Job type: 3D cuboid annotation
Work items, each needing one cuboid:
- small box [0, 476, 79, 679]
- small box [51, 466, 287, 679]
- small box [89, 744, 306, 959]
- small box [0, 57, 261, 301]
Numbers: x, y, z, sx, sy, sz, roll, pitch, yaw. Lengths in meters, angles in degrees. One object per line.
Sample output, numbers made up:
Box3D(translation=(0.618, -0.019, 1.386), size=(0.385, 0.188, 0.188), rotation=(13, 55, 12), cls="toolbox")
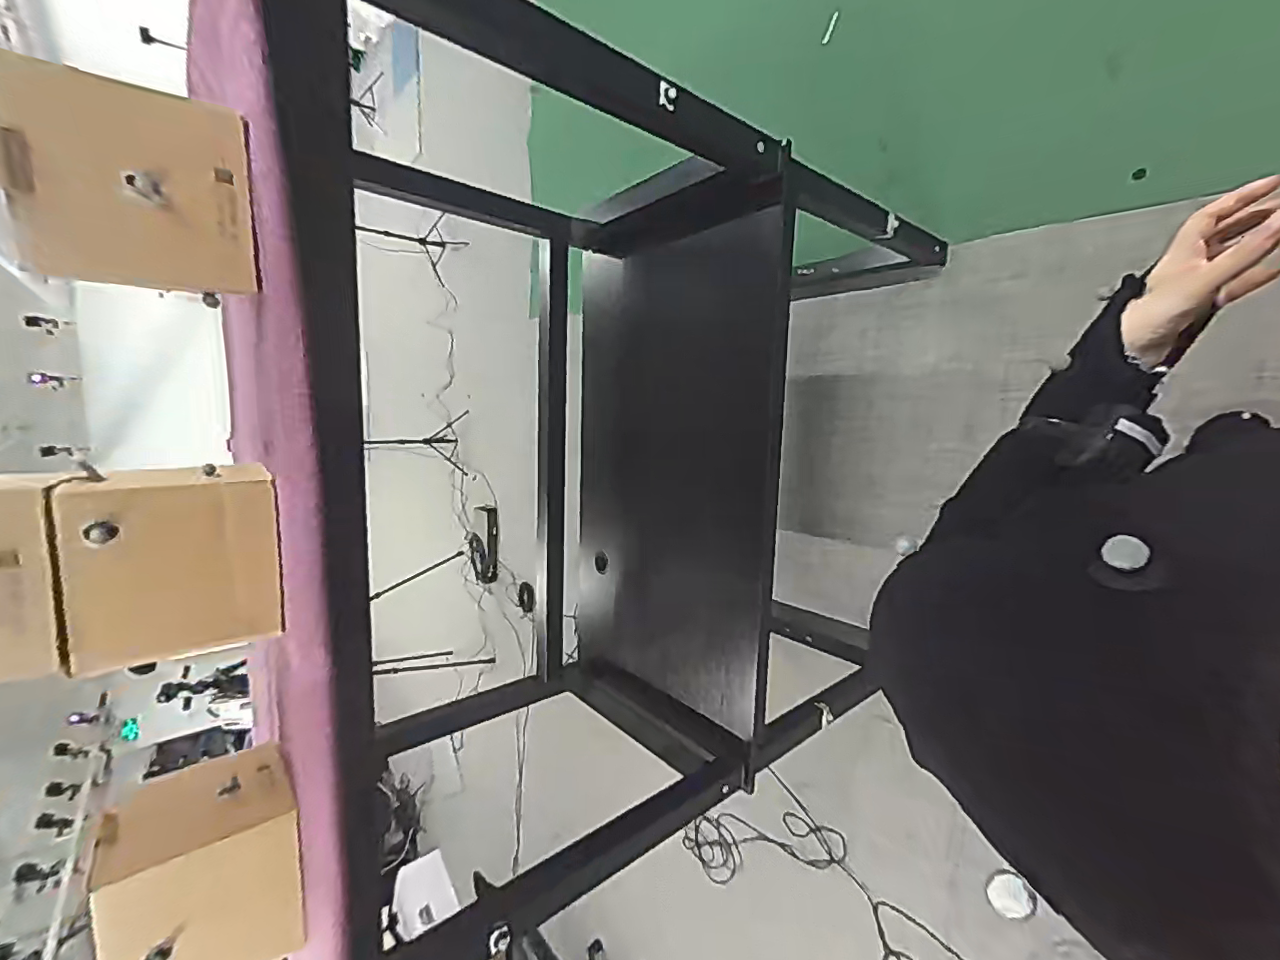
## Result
Box3D(translation=(-0.620, 0.085, 0.487), size=(0.179, 0.176, 0.168), rotation=(7, 97, 52), cls="small box")
Box3D(translation=(-0.494, 0.082, 0.590), size=(0.168, 0.176, 0.179), rotation=(10, 101, 50), cls="small box")
Box3D(translation=(-0.493, 0.444, 0.617), size=(0.168, 0.176, 0.179), rotation=(9, 100, 48), cls="small box")
Box3D(translation=(-0.491, -0.277, 0.544), size=(0.179, 0.176, 0.168), rotation=(21, 111, 49), cls="small box")
